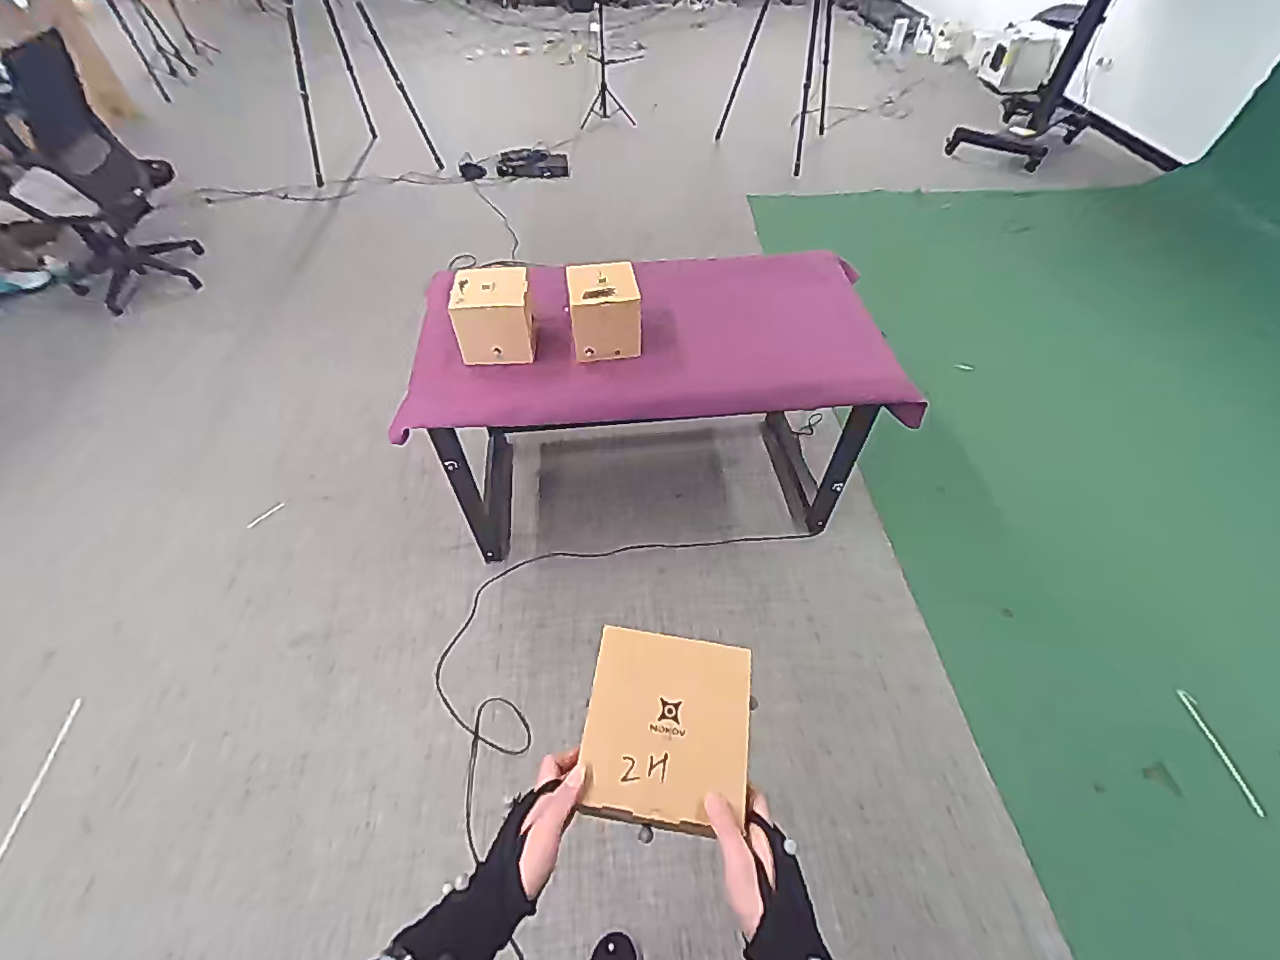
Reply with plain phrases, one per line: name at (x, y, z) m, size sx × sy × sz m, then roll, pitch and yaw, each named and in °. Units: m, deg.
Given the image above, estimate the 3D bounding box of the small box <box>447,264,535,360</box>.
small box at (-0.359, -0.412, 1.339) m, size 0.179 × 0.176 × 0.168 m, roll -2°, pitch 51°, yaw -4°

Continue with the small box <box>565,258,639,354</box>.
small box at (-0.093, -0.430, 1.357) m, size 0.168 × 0.176 × 0.179 m, roll -7°, pitch 51°, yaw -6°

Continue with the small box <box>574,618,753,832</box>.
small box at (0.025, 0.280, 0.611) m, size 0.168 × 0.176 × 0.179 m, roll 9°, pitch 56°, yaw 3°
